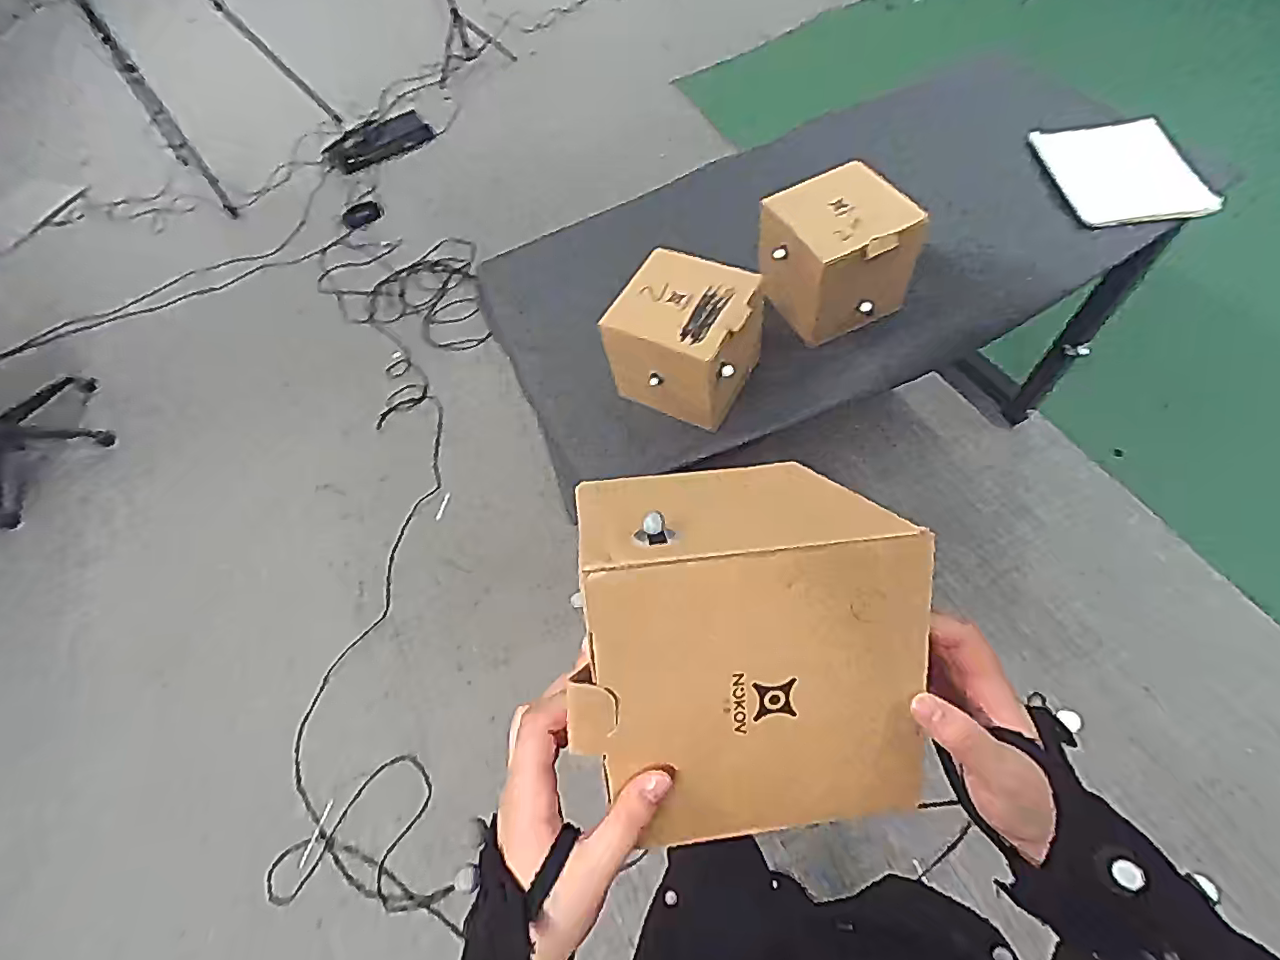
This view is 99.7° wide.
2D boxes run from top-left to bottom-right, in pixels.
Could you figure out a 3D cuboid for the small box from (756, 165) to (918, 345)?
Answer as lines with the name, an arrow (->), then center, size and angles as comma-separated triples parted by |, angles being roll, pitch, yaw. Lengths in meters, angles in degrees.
small box -> 0.294, -0.349, 0.854 | 0.168, 0.176, 0.179 | -25, 60, -3
